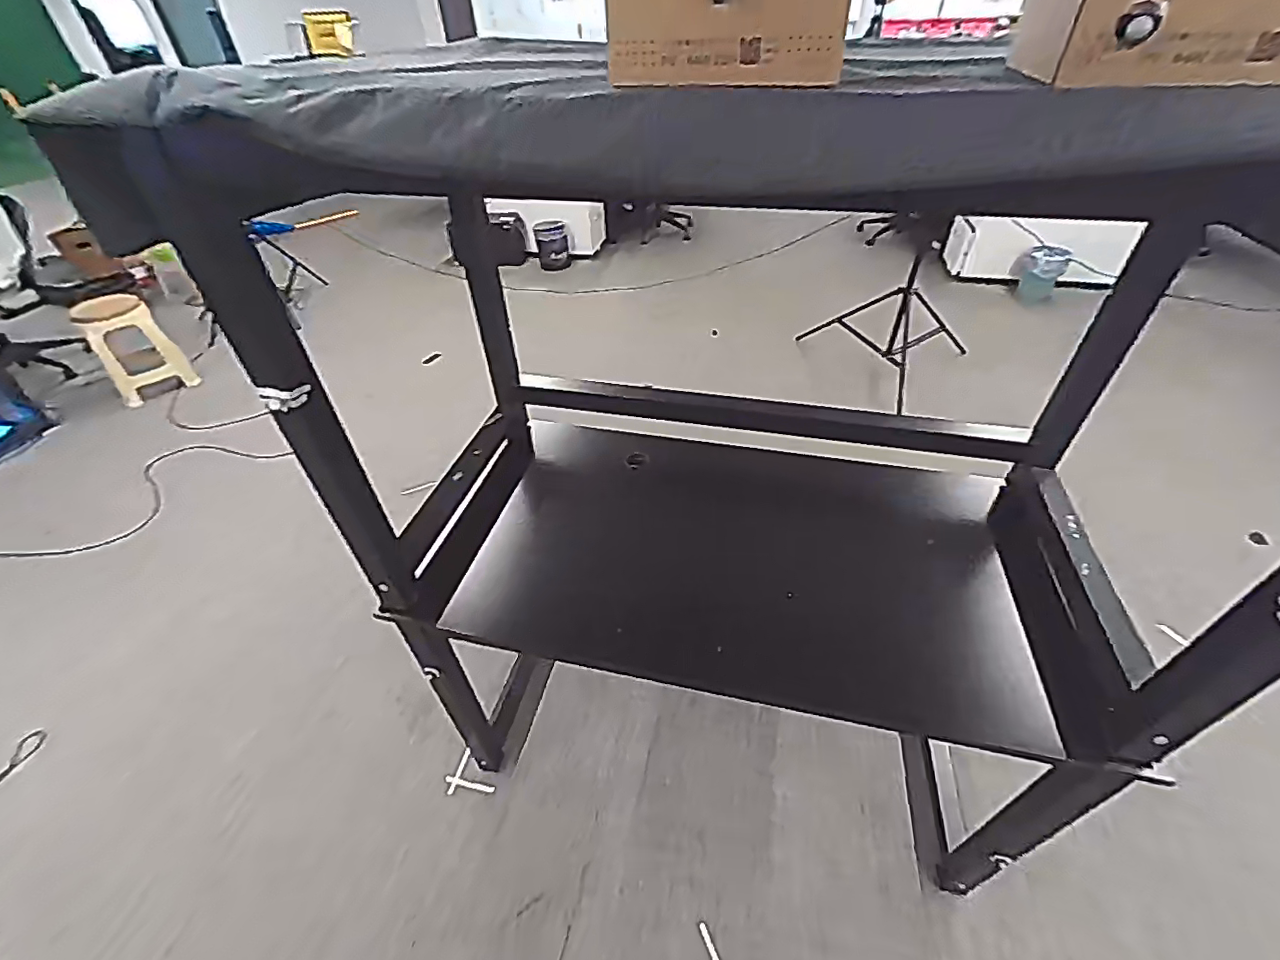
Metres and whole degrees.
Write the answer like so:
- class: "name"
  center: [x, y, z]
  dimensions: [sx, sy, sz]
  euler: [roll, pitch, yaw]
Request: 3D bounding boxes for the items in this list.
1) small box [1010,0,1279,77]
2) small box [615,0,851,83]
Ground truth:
- class: "small box"
  center: [0.369, -0.362, 0.341]
  dimensions: [0.168, 0.176, 0.179]
  euler: [11, 41, 14]
- class: "small box"
  center: [0.077, -0.402, 0.396]
  dimensions: [0.168, 0.176, 0.179]
  euler: [9, 40, 13]
